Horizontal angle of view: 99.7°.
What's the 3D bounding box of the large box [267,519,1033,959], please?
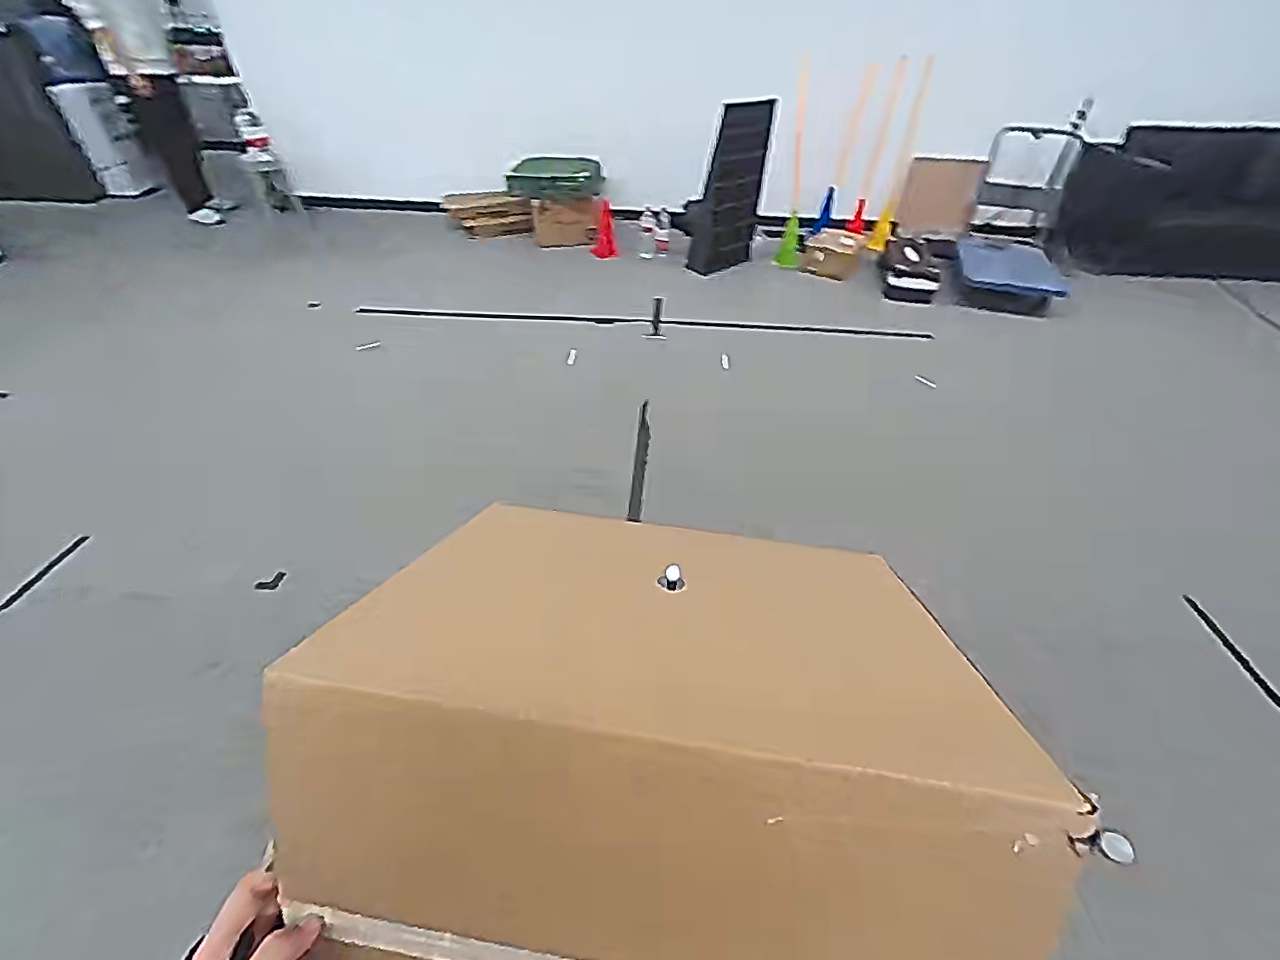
[{"bbox_3d":[-0.003,0.235,0.455,0.408,0.320,0.320,6,15,4],"label":"large box"}]
